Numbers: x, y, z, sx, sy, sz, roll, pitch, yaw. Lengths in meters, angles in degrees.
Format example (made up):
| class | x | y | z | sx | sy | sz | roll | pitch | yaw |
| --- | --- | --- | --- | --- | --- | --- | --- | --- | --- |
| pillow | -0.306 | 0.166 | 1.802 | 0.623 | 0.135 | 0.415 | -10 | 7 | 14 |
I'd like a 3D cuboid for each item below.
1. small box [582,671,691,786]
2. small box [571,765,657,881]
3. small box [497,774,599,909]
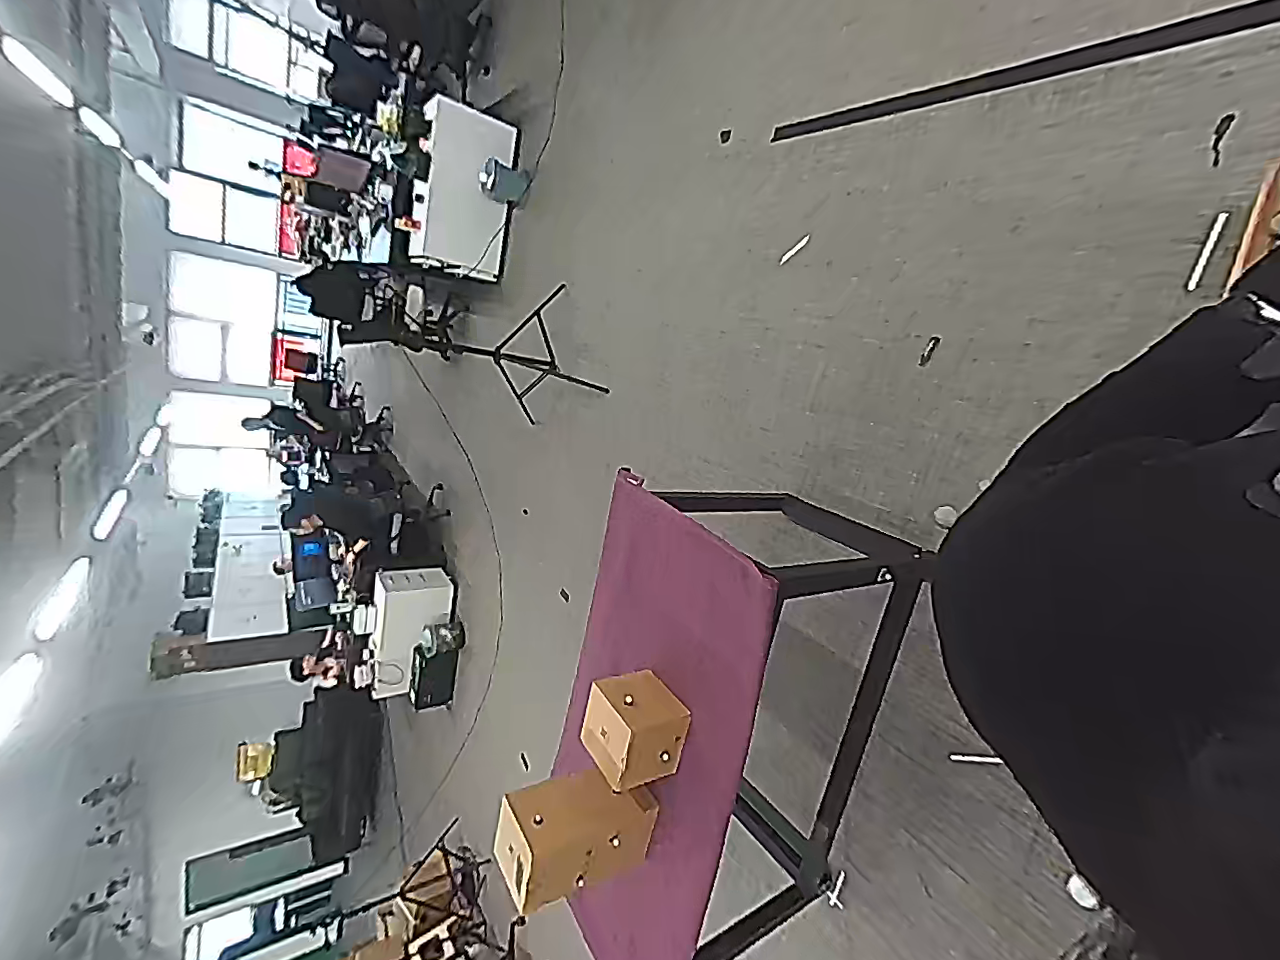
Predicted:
| class | x | y | z | sx | sy | sz | roll | pitch | yaw |
| --- | --- | --- | --- | --- | --- | --- | --- | --- | --- |
| small box | -0.010 | 0.568 | 1.266 | 0.179 | 0.176 | 0.168 | 31 | 113 | 51 |
| small box | -0.077 | 0.830 | 1.345 | 0.168 | 0.176 | 0.179 | 31 | 113 | 51 |
| small box | -0.214 | 0.823 | 1.255 | 0.179 | 0.176 | 0.168 | 29 | 111 | 52 |
